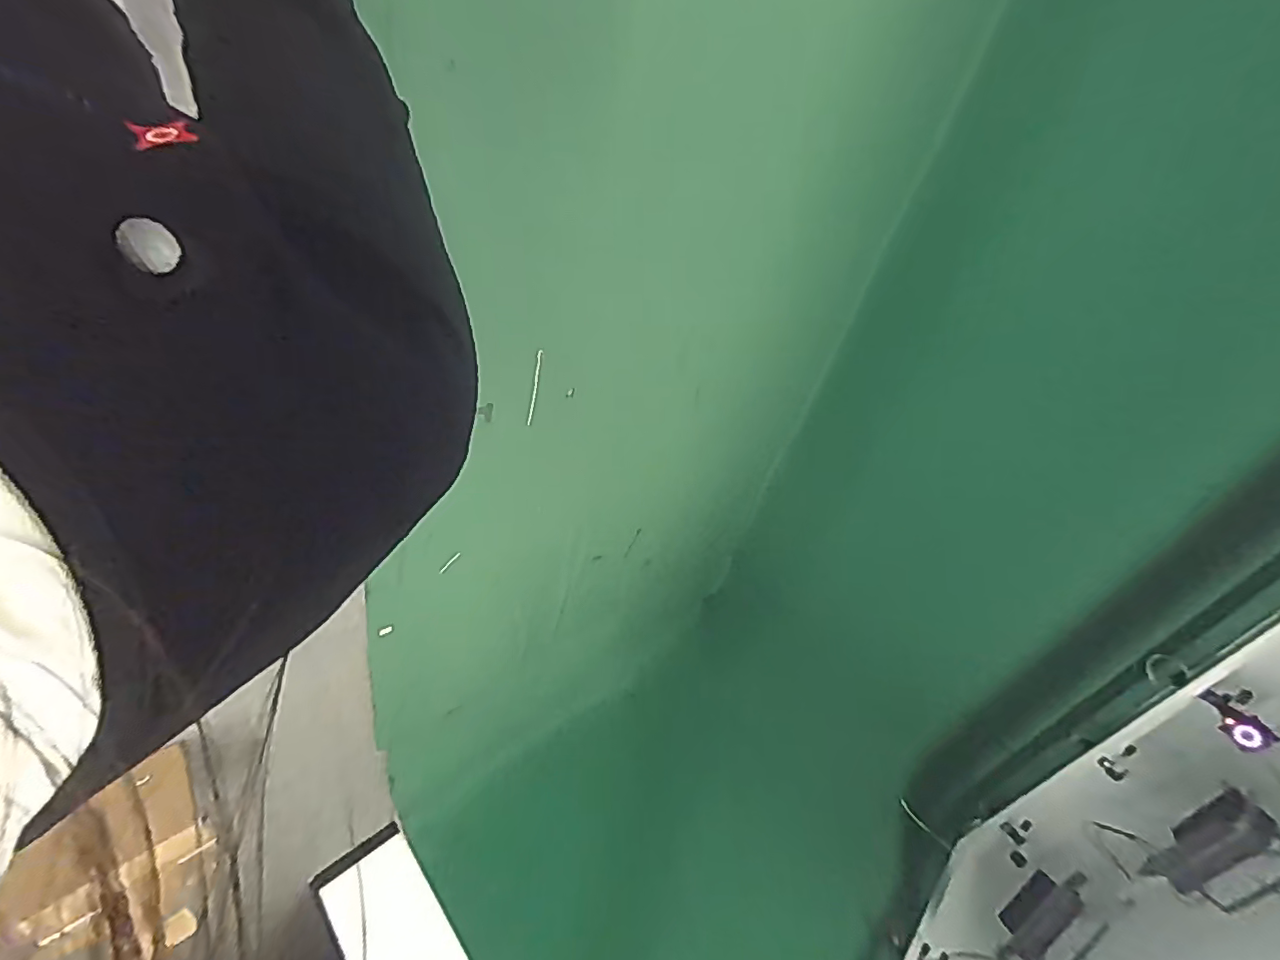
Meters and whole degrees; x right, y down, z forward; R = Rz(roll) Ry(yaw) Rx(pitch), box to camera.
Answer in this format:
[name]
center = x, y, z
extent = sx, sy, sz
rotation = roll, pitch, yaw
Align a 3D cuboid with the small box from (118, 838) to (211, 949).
[small box]
center = -1.449, 1.251, 1.645
extent = 0.179, 0.176, 0.168
rotation = -22, 135, -39
